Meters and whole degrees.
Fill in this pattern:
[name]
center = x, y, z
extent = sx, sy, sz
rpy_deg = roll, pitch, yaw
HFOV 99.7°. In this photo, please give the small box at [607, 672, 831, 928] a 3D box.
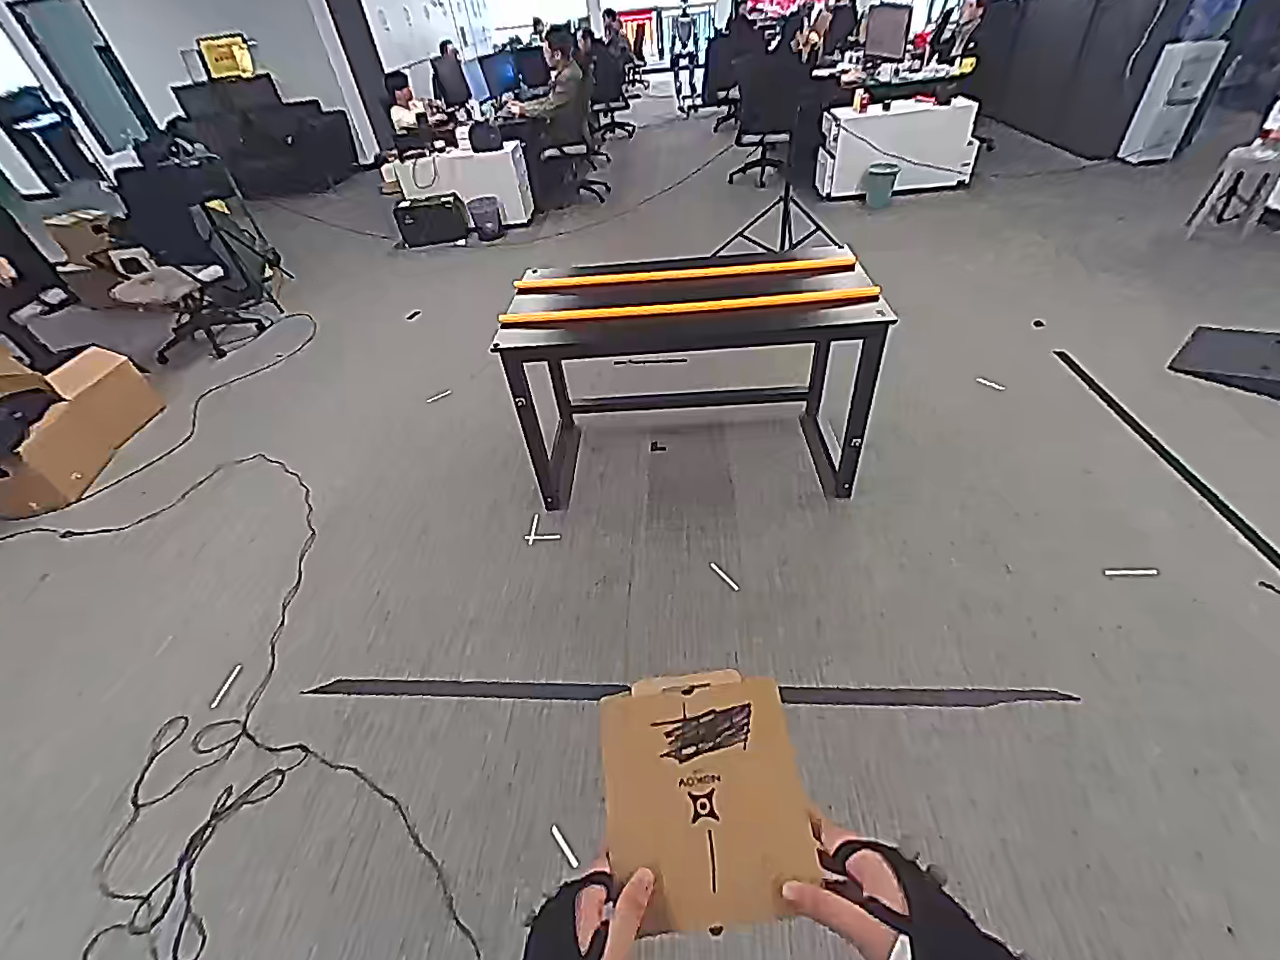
[small box]
center = 0.064, 0.304, 0.523
extent = 0.168, 0.176, 0.179
rpy_deg = -9, 57, 2
